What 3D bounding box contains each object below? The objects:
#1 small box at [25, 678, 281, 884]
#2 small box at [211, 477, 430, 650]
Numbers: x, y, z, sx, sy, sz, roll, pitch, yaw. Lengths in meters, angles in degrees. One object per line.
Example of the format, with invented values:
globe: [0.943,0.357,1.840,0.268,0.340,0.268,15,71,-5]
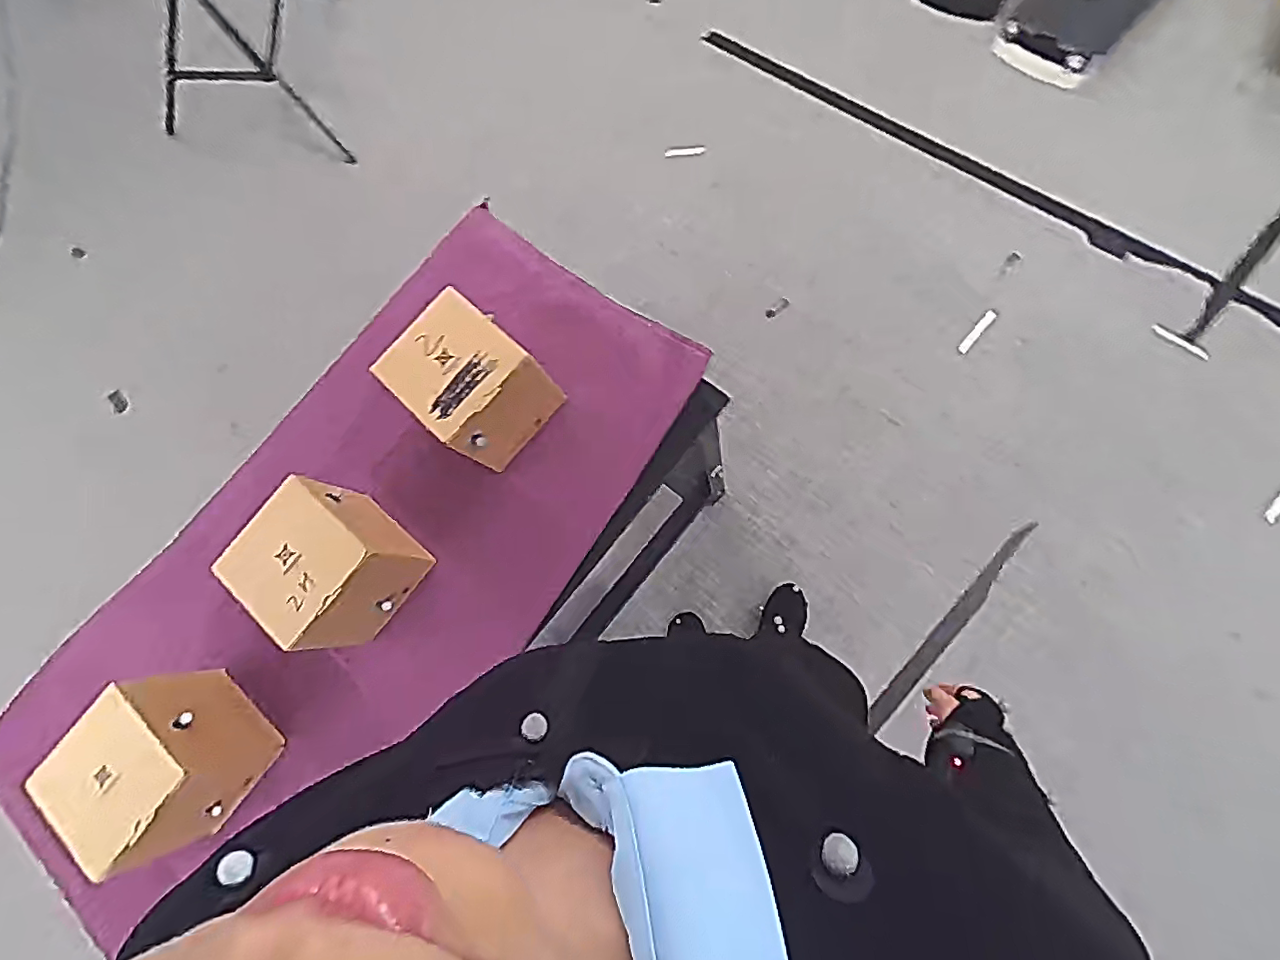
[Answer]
small box: [-0.670,0.402,0.764,0.179,0.176,0.168,36,84,14]
small box: [-0.453,0.124,0.790,0.179,0.176,0.168,37,86,15]
